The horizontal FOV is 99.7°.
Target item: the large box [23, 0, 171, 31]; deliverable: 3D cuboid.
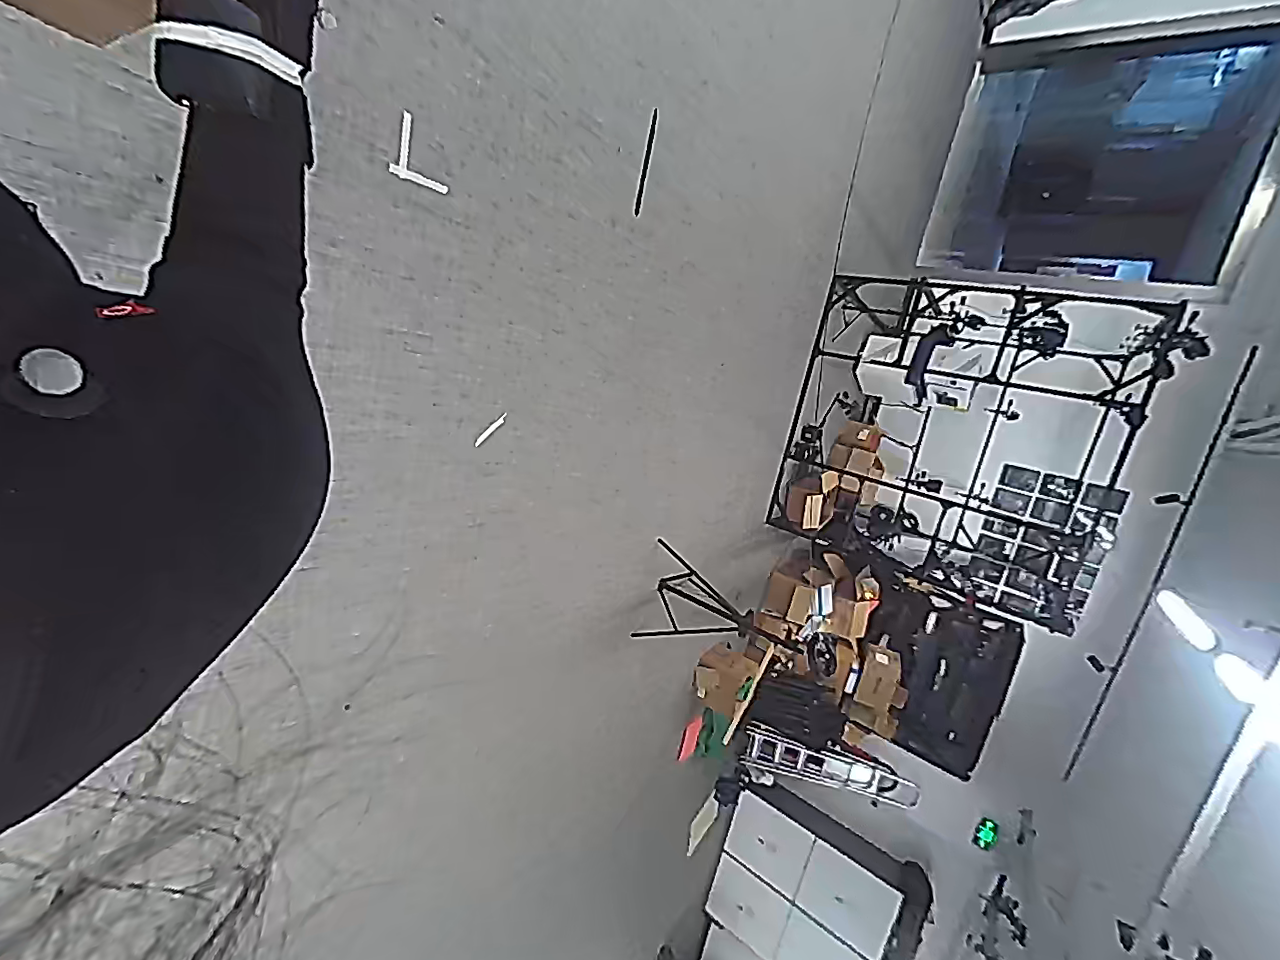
[{"bbox_3d":[-0.462,-0.505,0.234,0.408,0.320,0.320,-1,111,-56],"label":"large box"}]
